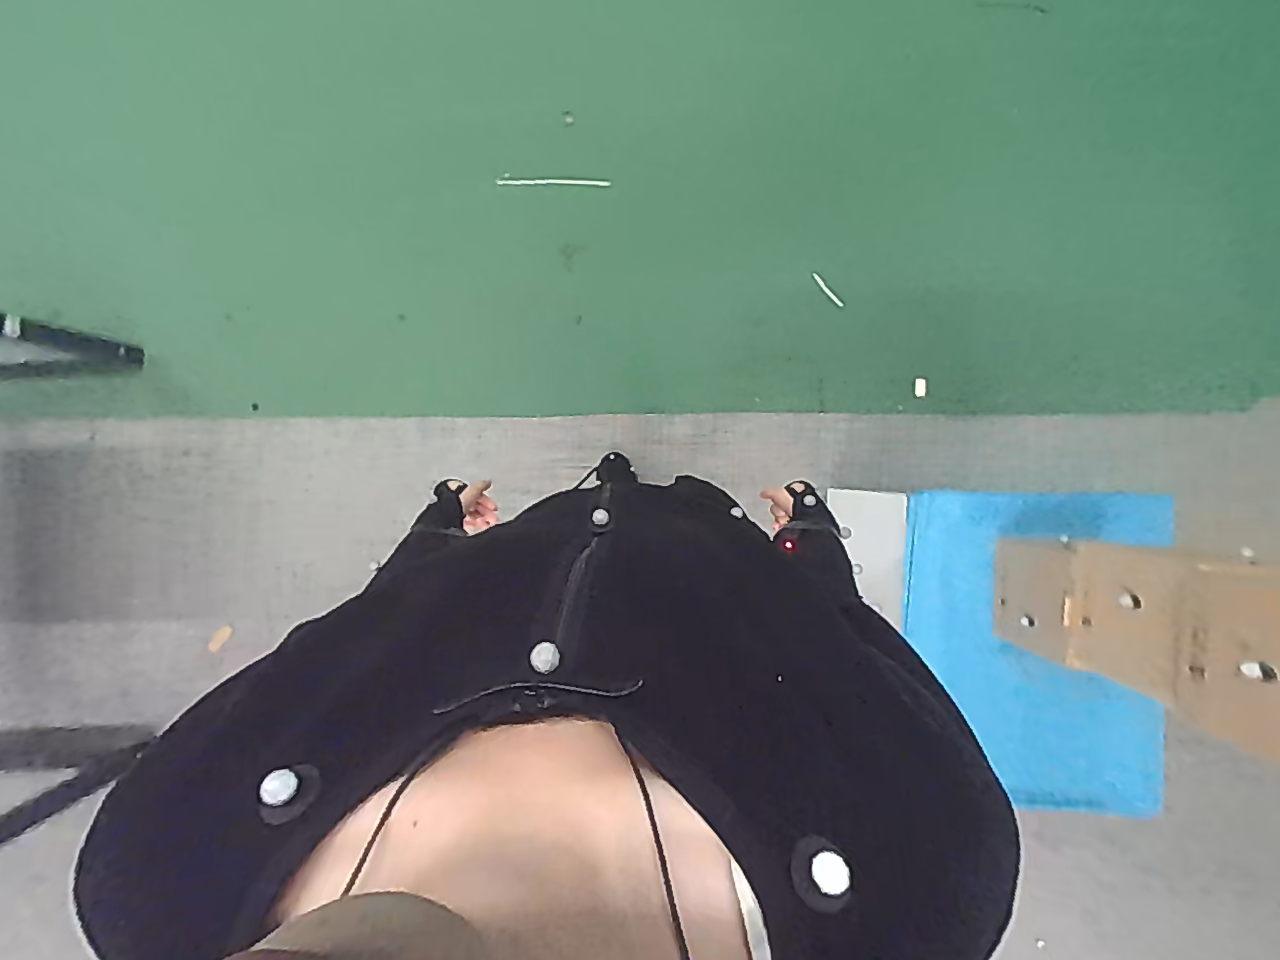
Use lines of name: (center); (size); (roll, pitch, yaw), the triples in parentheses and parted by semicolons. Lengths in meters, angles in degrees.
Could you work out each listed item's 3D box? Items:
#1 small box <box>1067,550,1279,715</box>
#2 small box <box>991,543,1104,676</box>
small box: (0.671, 0.181, 0.661); (0.179, 0.176, 0.168); (4, 92, -1)
small box: (0.672, 0.191, 0.823); (0.179, 0.176, 0.168); (3, 92, 0)
